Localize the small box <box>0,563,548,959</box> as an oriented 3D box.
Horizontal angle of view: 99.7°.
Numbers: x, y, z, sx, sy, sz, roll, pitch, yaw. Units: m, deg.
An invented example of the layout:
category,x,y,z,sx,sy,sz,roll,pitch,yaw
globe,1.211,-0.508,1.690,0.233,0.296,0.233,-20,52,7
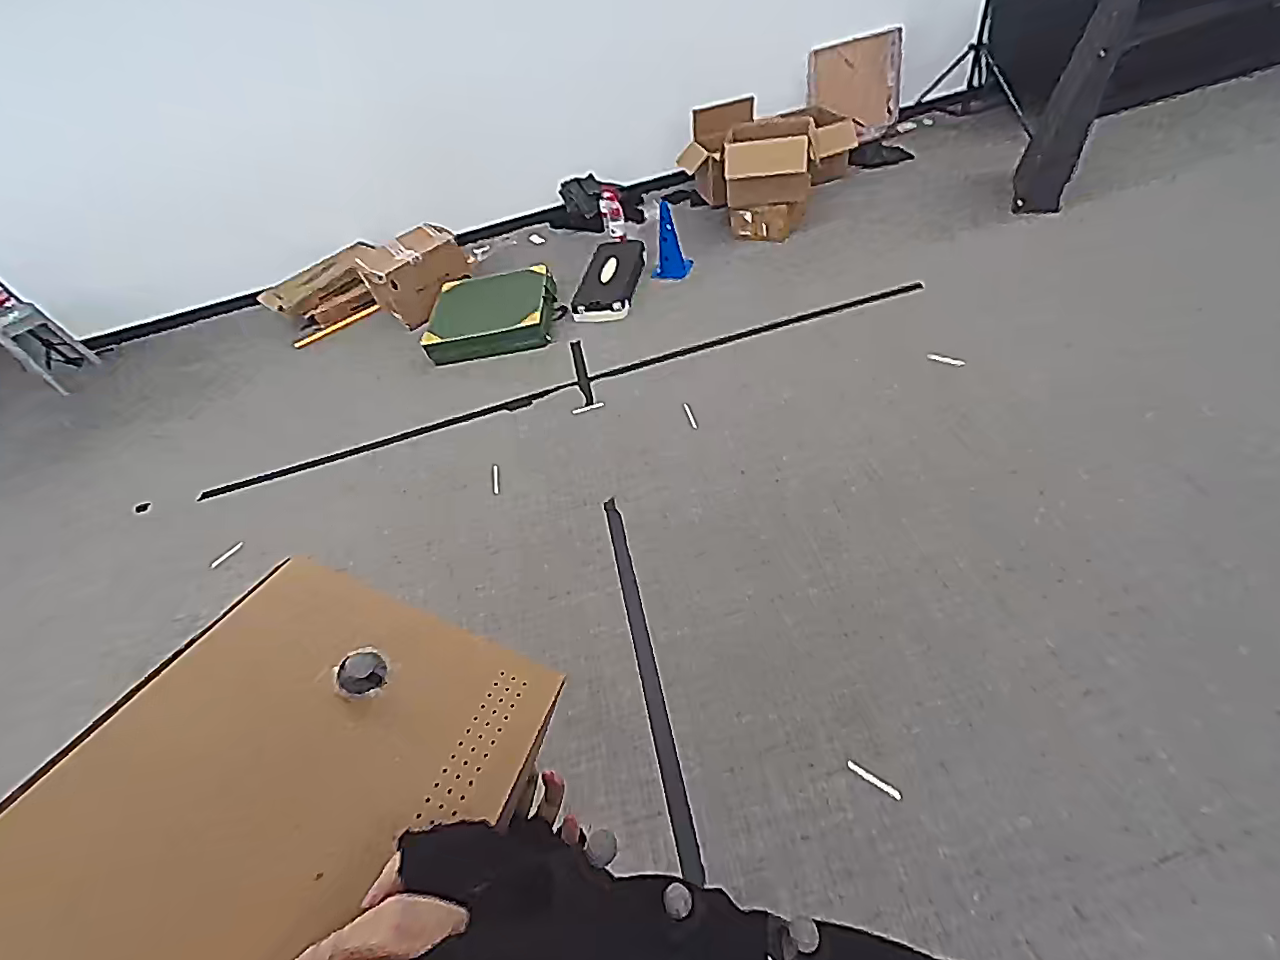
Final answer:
category,x,y,z,sx,sy,sz,roll,pitch,yaw
small box,-0.159,0.185,0.299,0.176,0.168,0.179,22,40,4
